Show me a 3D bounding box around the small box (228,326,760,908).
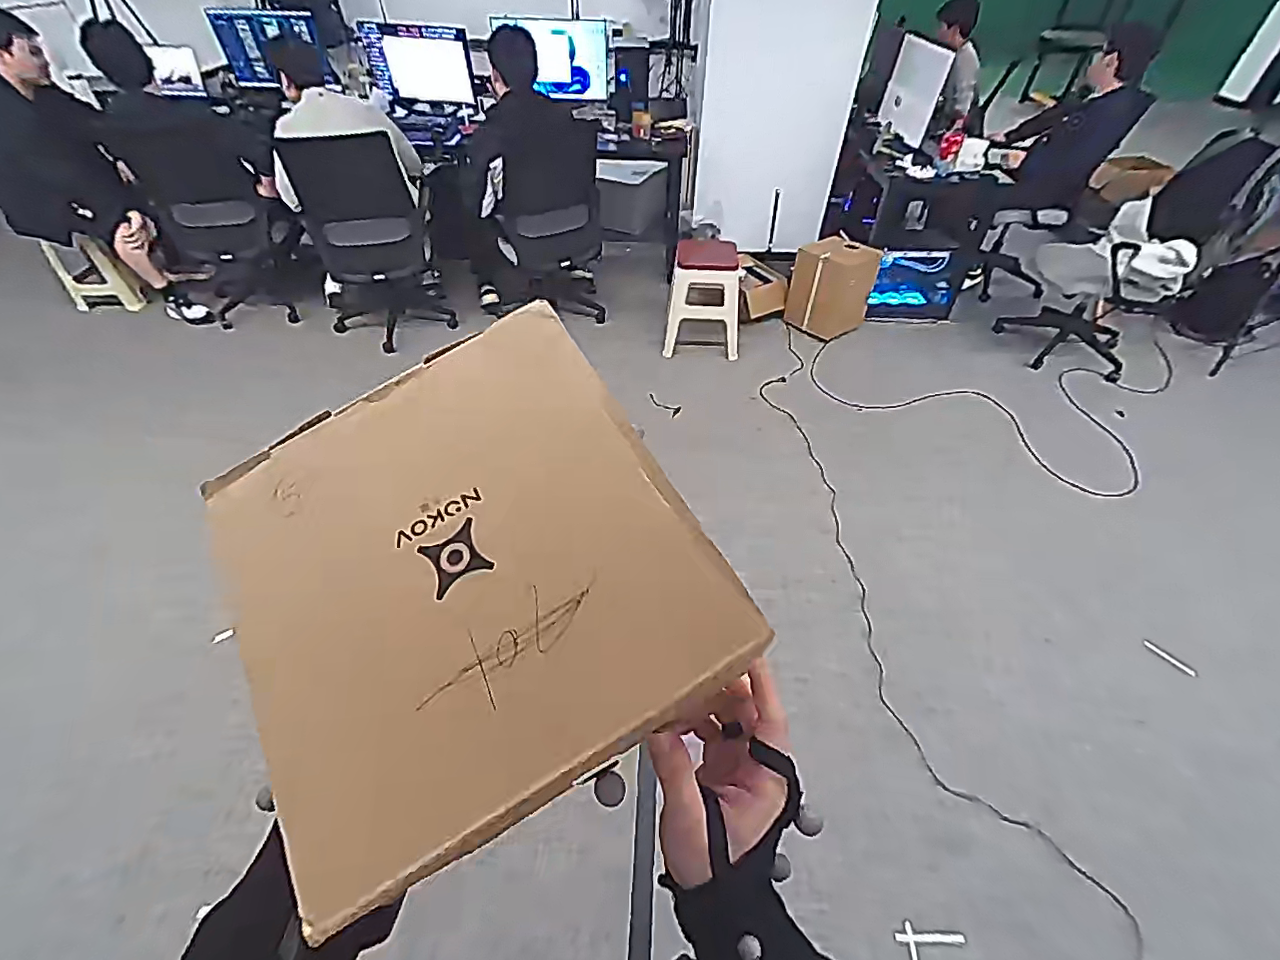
[{"bbox_3d":[-0.059,0.063,0.285,0.168,0.176,0.179,-33,66,-6],"label":"small box"}]
